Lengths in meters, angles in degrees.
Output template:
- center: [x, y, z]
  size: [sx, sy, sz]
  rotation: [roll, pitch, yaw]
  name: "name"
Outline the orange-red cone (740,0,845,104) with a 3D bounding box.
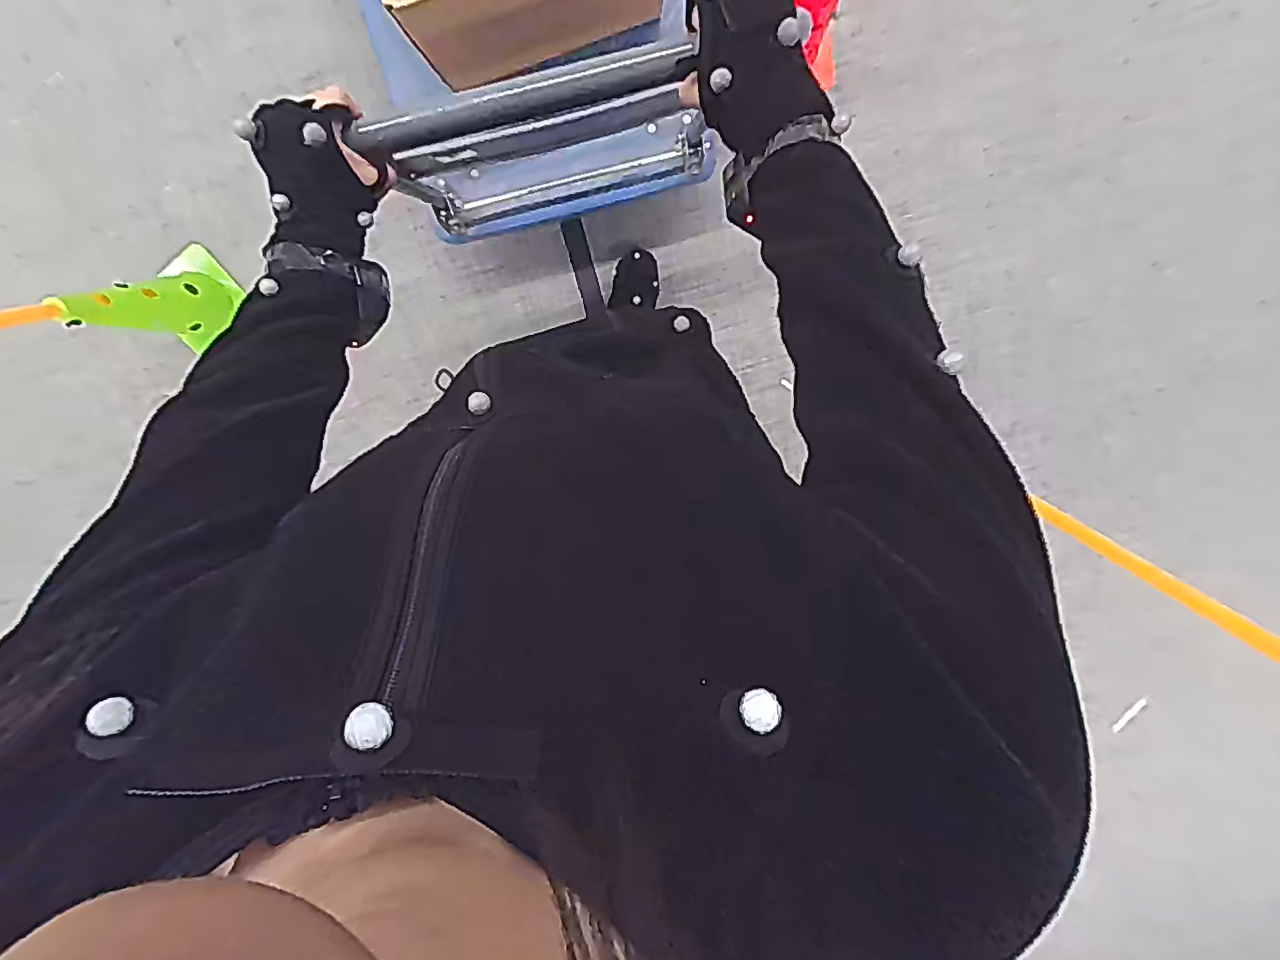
- center: [0.322, -0.864, 0.983]
  size: [0.199, 0.360, 0.198]
  rotation: [-10, 109, 0]
  name: "orange-red cone"
